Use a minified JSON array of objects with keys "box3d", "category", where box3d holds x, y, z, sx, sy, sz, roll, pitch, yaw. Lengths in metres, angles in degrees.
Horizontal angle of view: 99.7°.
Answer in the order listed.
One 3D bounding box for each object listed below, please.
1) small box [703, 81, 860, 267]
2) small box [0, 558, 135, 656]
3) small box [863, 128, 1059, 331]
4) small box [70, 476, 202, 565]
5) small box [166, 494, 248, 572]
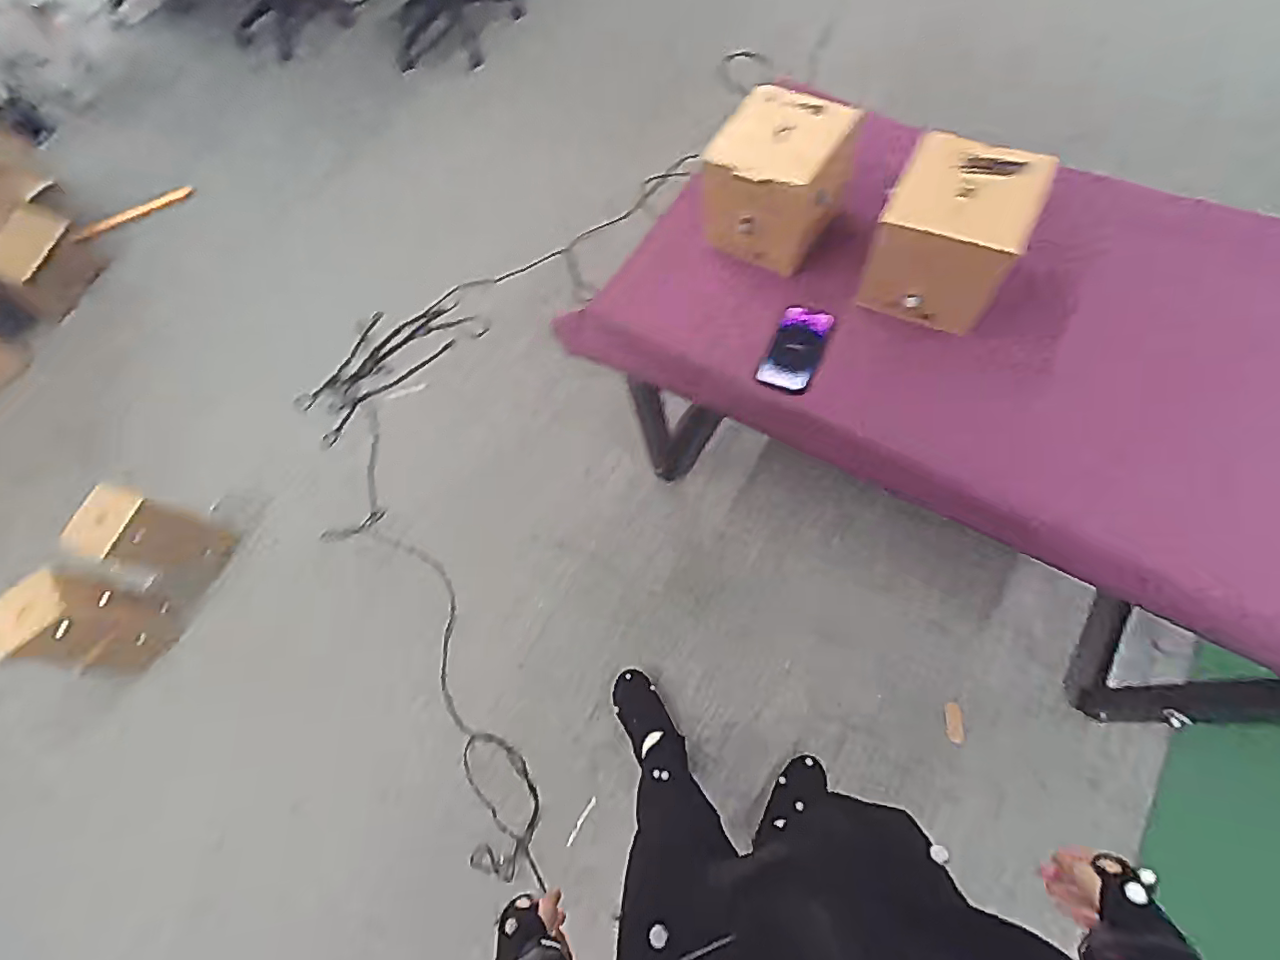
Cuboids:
[{"box3d":[0.219,-0.474,0.855,0.168,0.176,0.179,31,76,20],"category":"small box"},{"box3d":[-1.494,0.337,1.415,0.179,0.176,0.168,-40,67,-9],"category":"small box"},{"box3d":[0.438,-0.348,0.766,0.168,0.176,0.179,25,74,19],"category":"small box"},{"box3d":[-1.369,0.117,1.482,0.168,0.176,0.179,17,72,14],"category":"small box"},{"box3d":[-1.352,0.167,1.637,0.179,0.176,0.168,21,73,17],"category":"small box"}]
